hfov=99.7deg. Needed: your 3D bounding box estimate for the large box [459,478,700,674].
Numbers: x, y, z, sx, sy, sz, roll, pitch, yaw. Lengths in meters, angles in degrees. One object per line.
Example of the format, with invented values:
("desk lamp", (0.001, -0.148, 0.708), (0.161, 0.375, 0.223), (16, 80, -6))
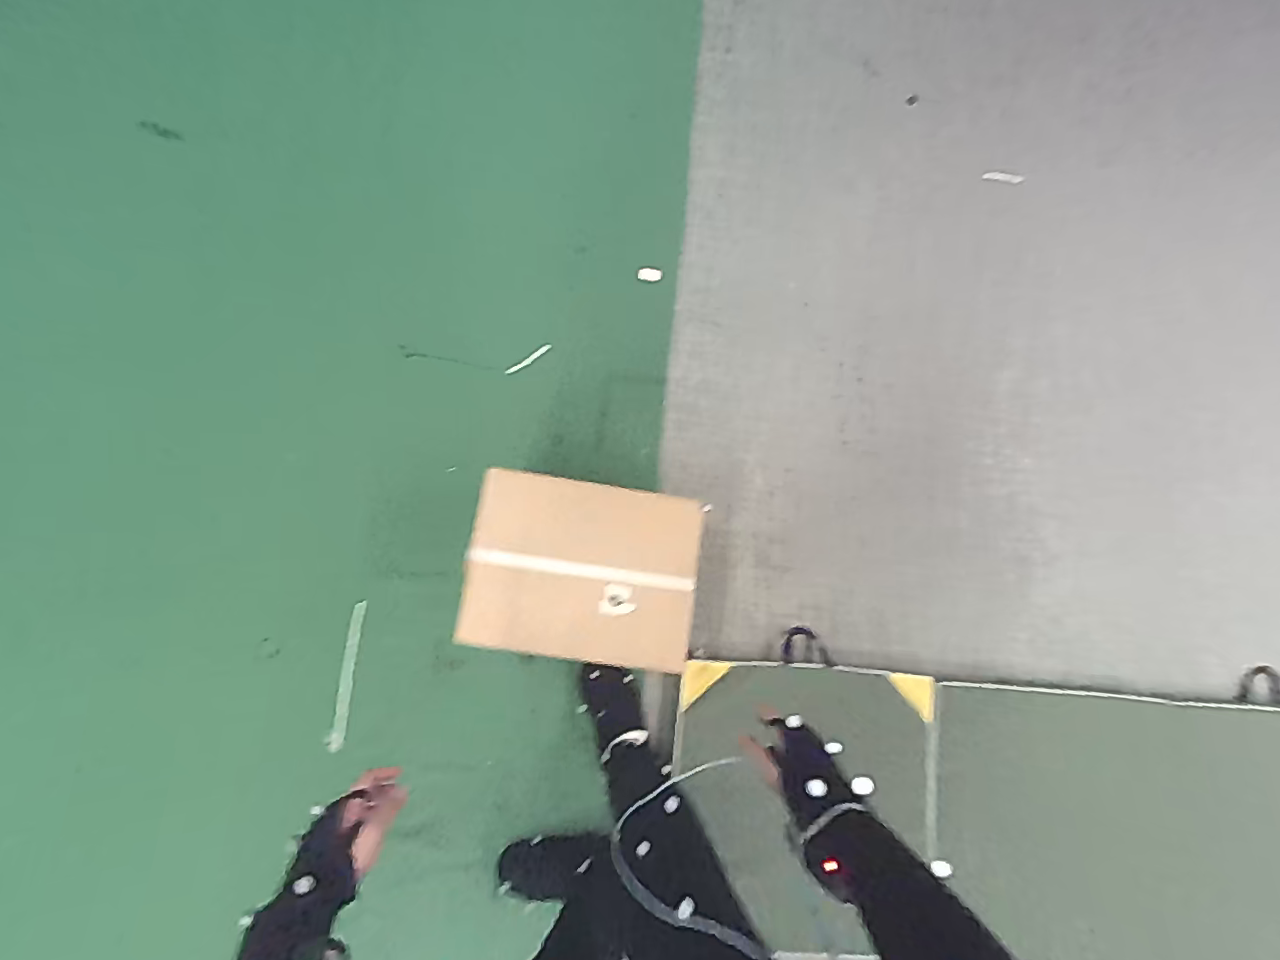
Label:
("large box", (-0.119, 0.193, 1.121), (0.408, 0.320, 0.320), (9, 82, -5))
